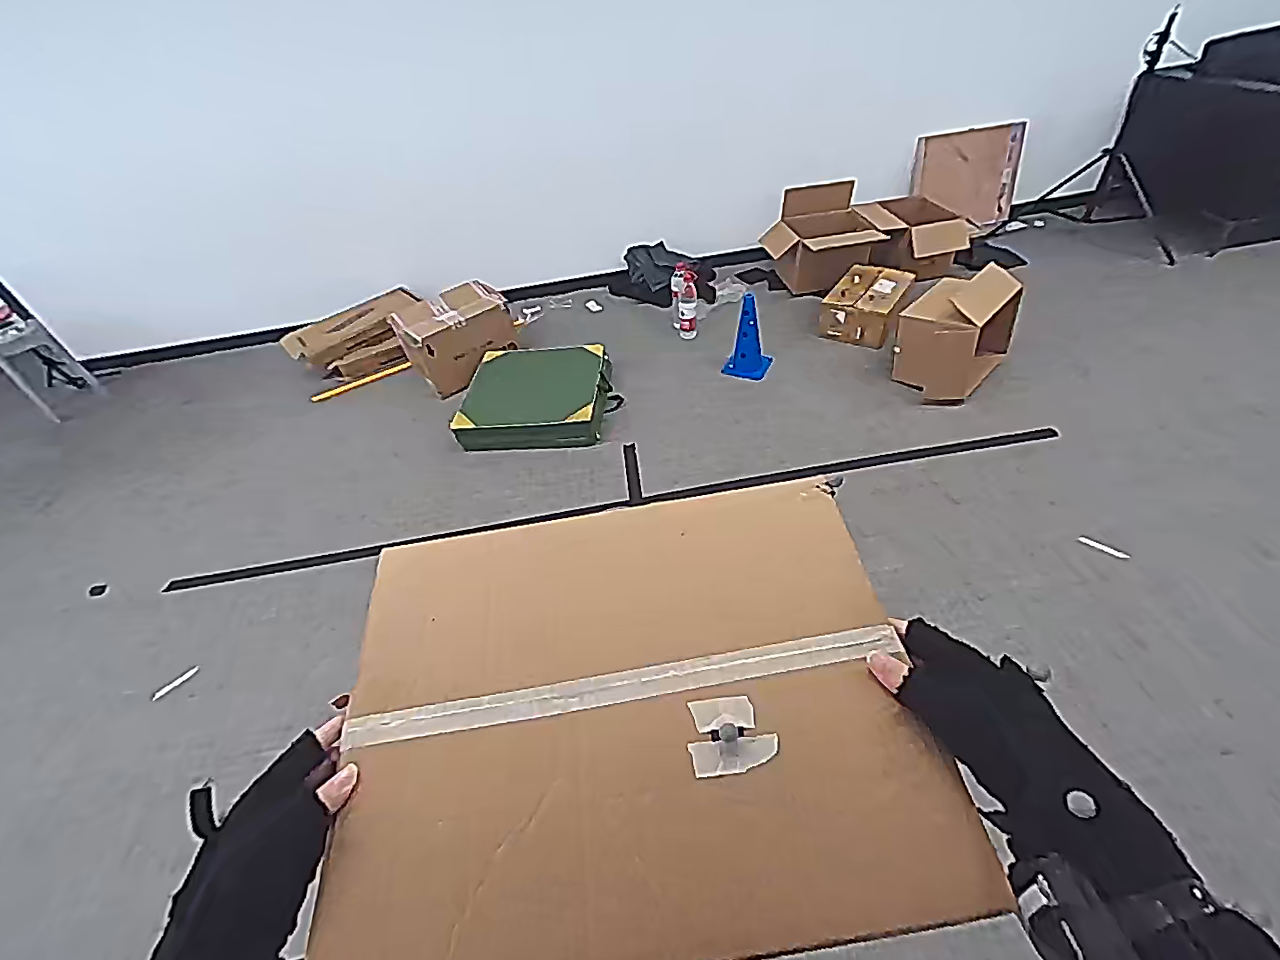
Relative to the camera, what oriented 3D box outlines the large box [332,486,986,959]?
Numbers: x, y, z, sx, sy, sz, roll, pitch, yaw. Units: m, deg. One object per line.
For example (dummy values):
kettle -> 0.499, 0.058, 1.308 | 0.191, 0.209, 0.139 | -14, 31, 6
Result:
large box -> 0.002, 0.248, 0.522 | 0.408, 0.320, 0.320 | -9, 52, -1
